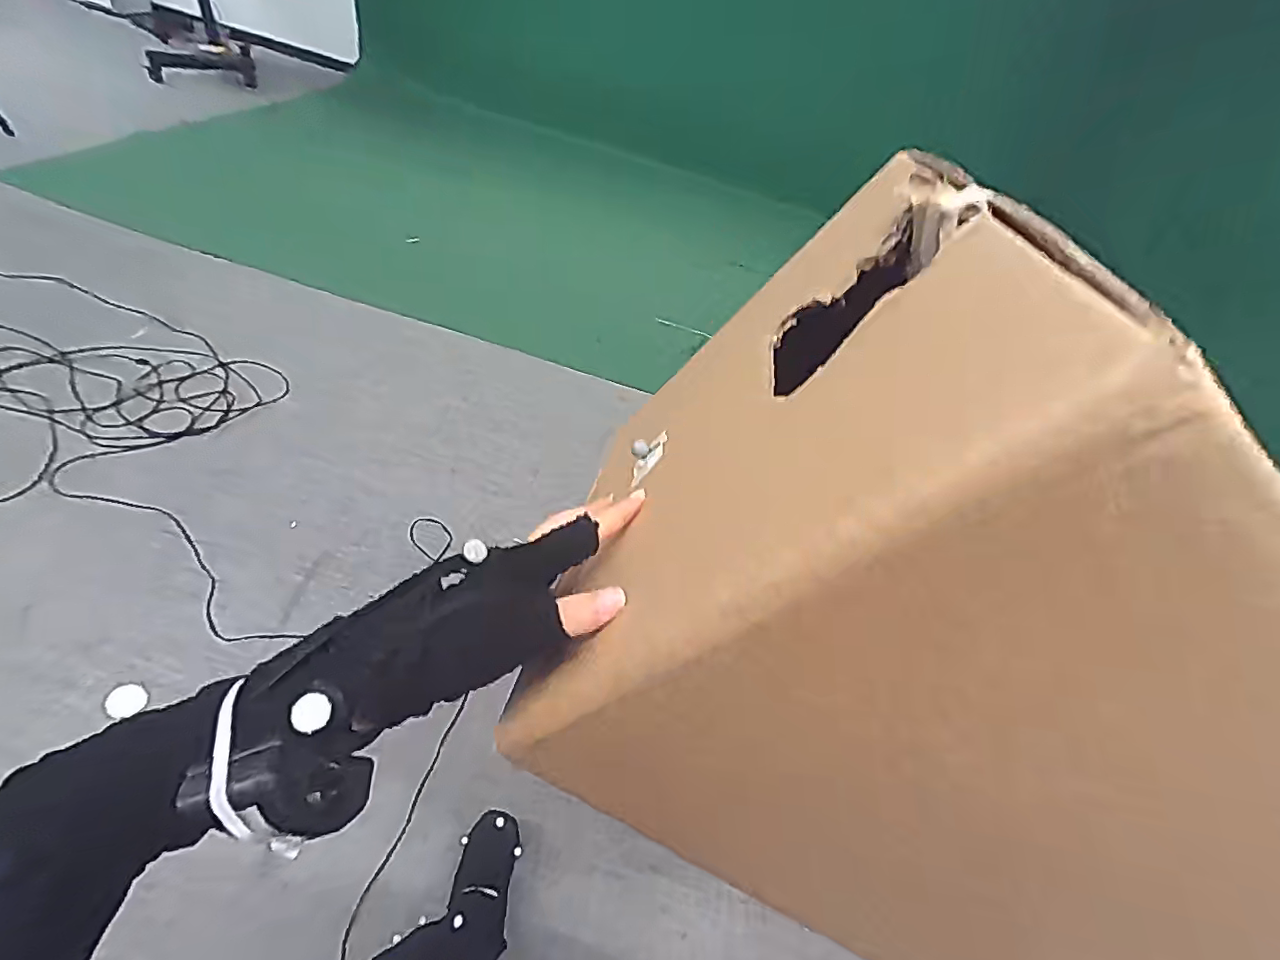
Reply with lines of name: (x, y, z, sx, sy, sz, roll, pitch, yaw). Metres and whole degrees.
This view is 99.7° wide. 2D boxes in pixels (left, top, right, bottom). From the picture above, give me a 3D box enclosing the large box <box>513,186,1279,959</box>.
large box: (0.192, 0.086, 0.383, 0.408, 0.320, 0.320, 39, 36, -16)
